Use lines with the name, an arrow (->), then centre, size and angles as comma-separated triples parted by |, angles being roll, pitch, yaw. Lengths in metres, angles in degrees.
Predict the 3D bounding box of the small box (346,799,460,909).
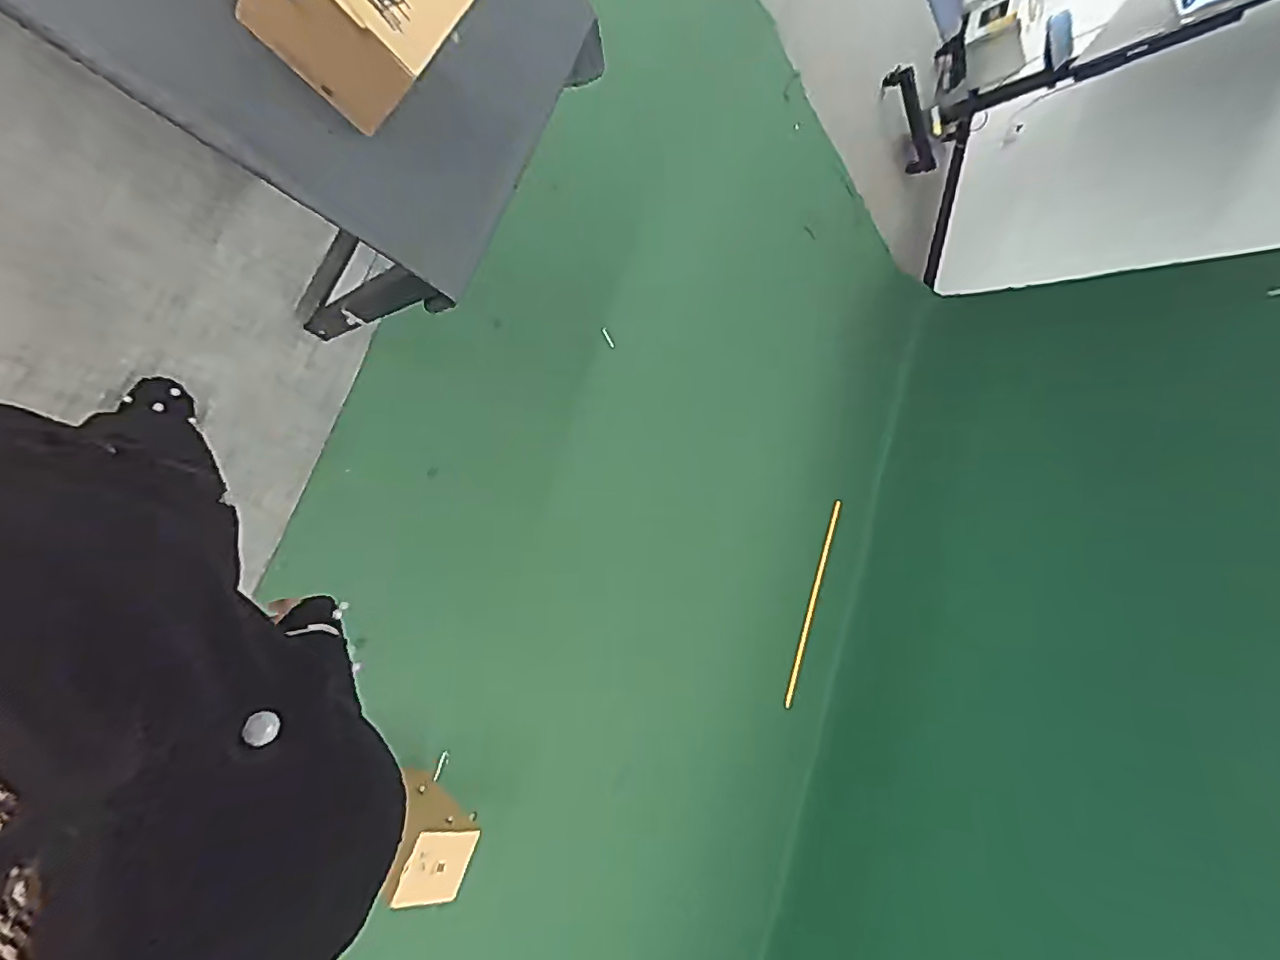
small box -> -0.592, 0.922, 1.351 | 0.179, 0.176, 0.168 | 35, 70, -42
